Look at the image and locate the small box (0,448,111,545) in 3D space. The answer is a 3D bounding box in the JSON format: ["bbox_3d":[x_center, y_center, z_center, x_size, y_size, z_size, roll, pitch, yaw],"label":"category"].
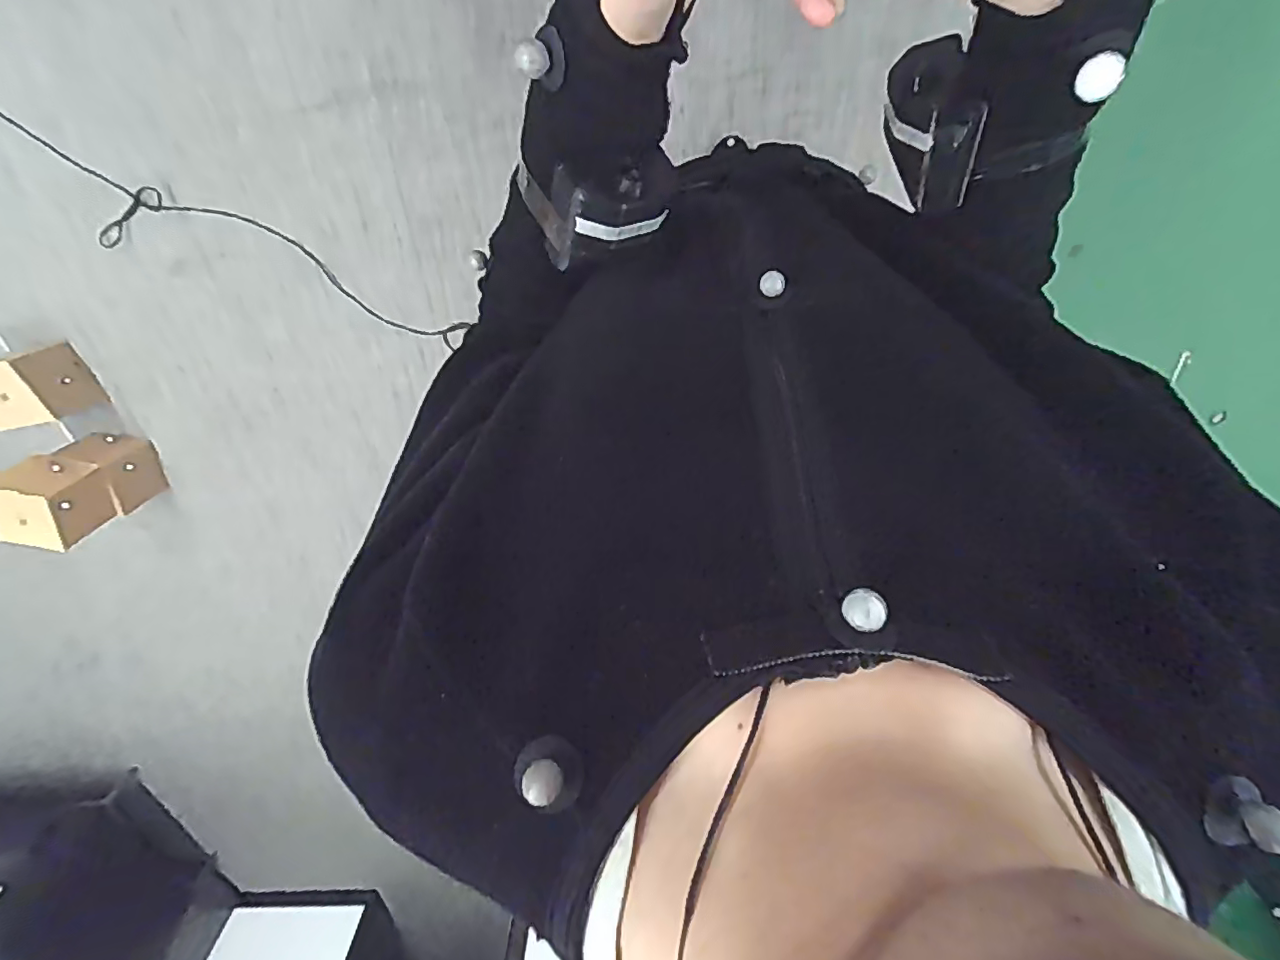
[{"bbox_3d":[-1.568,0.040,1.430,0.168,0.176,0.179,12,120,-6],"label":"small box"}]

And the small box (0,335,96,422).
[{"bbox_3d":[-1.609,-0.271,1.426,0.179,0.176,0.168,-8,121,6],"label":"small box"}]
